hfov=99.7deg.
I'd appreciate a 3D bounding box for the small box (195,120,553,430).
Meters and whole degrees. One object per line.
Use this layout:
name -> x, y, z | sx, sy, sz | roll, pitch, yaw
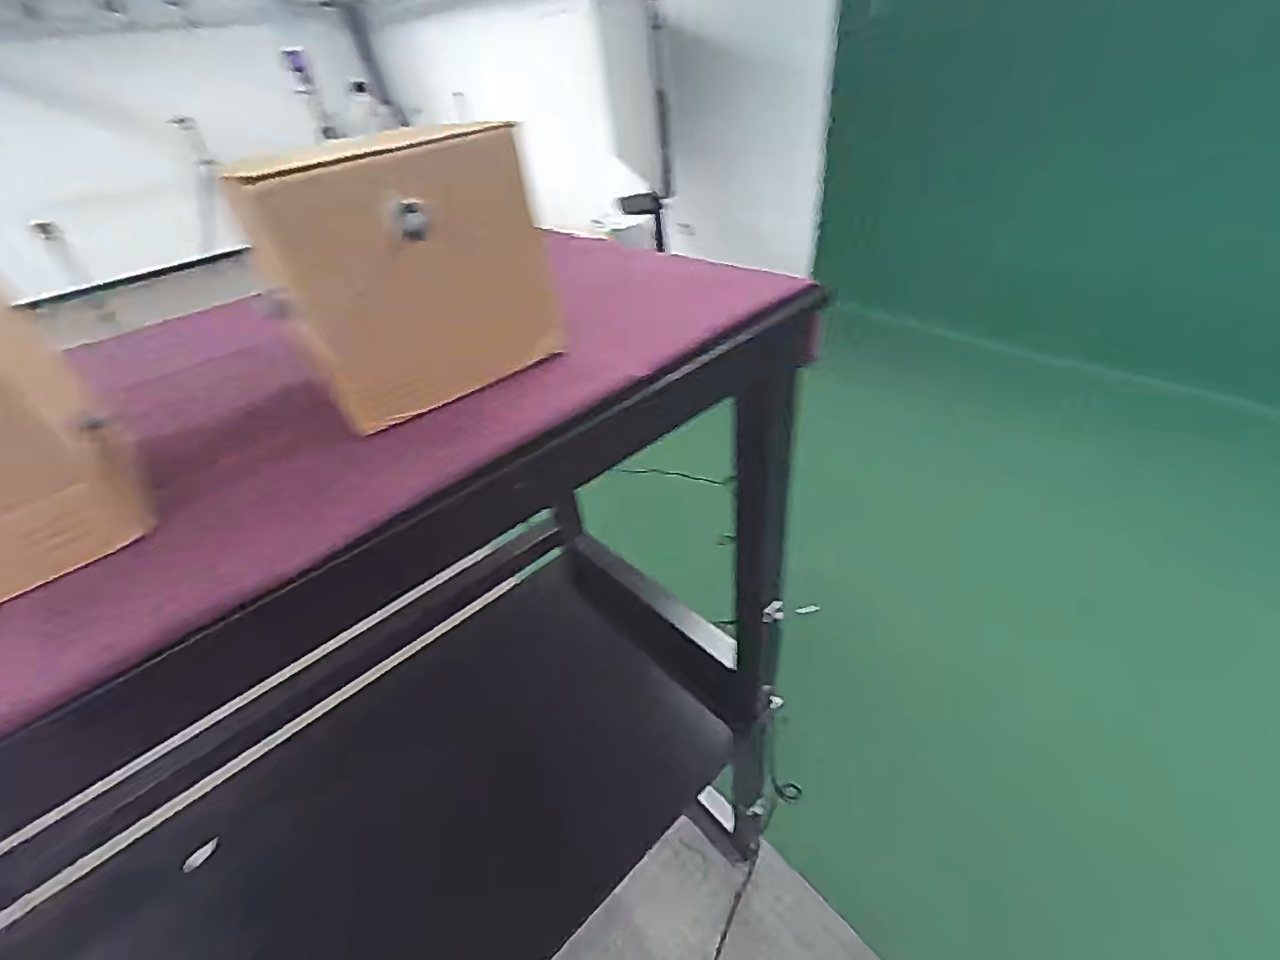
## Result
small box -> -0.193, -0.162, 0.420 | 0.179, 0.176, 0.168 | -31, 43, -26
